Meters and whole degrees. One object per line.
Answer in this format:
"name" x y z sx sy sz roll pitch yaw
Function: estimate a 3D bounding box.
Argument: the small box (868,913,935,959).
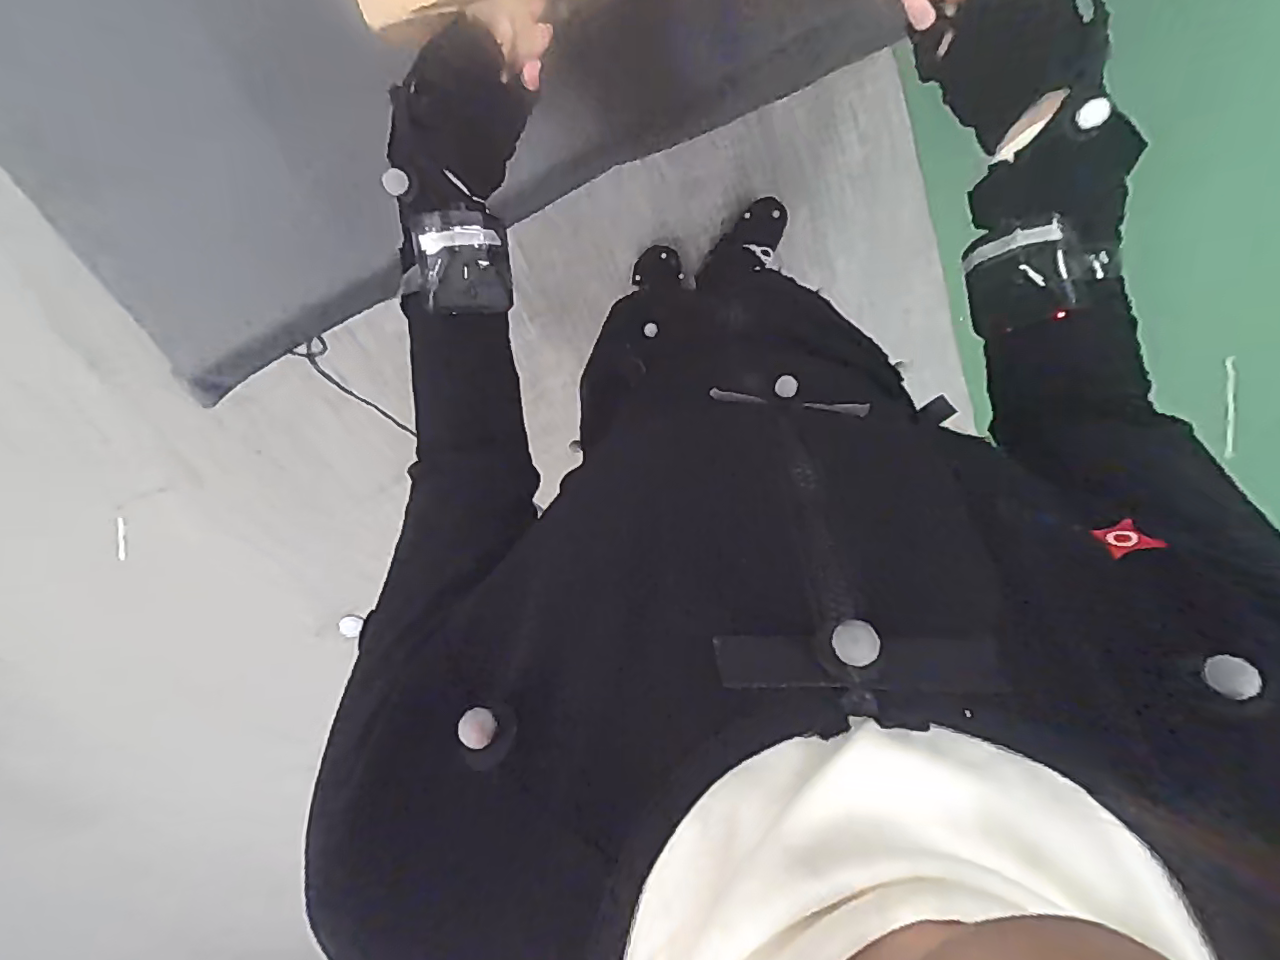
"small box" 0.885 1.607 1.812 0.179 0.176 0.168 -19 109 5
